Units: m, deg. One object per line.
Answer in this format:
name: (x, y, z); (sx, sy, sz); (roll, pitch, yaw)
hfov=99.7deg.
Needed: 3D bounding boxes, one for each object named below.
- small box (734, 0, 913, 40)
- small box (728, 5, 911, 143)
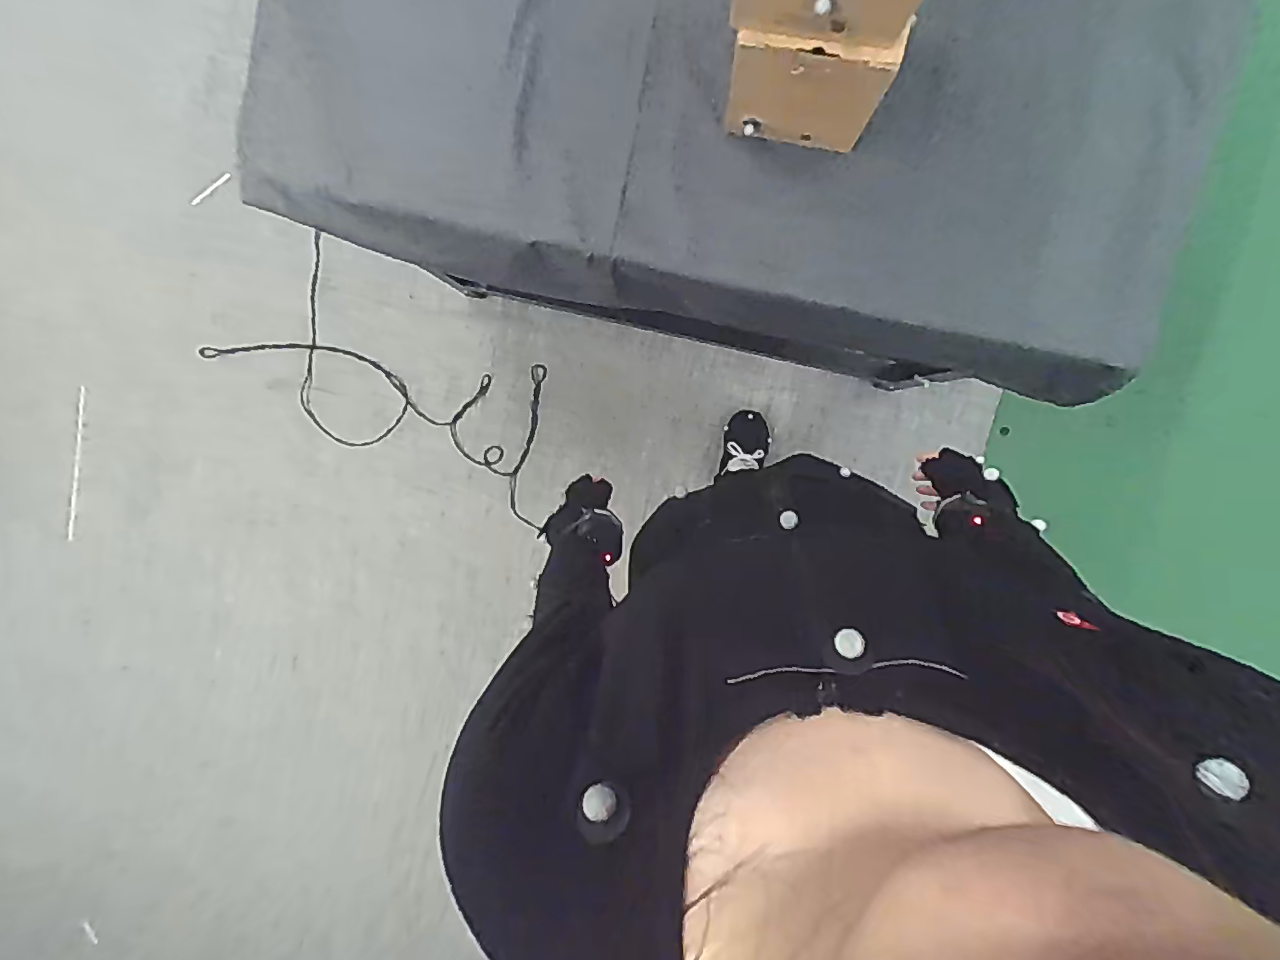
small box: (0.174, -0.515, 0.438); (0.168, 0.176, 0.179); (11, 97, 4)
small box: (0.197, -0.514, 0.602); (0.168, 0.176, 0.179); (12, 96, 3)
